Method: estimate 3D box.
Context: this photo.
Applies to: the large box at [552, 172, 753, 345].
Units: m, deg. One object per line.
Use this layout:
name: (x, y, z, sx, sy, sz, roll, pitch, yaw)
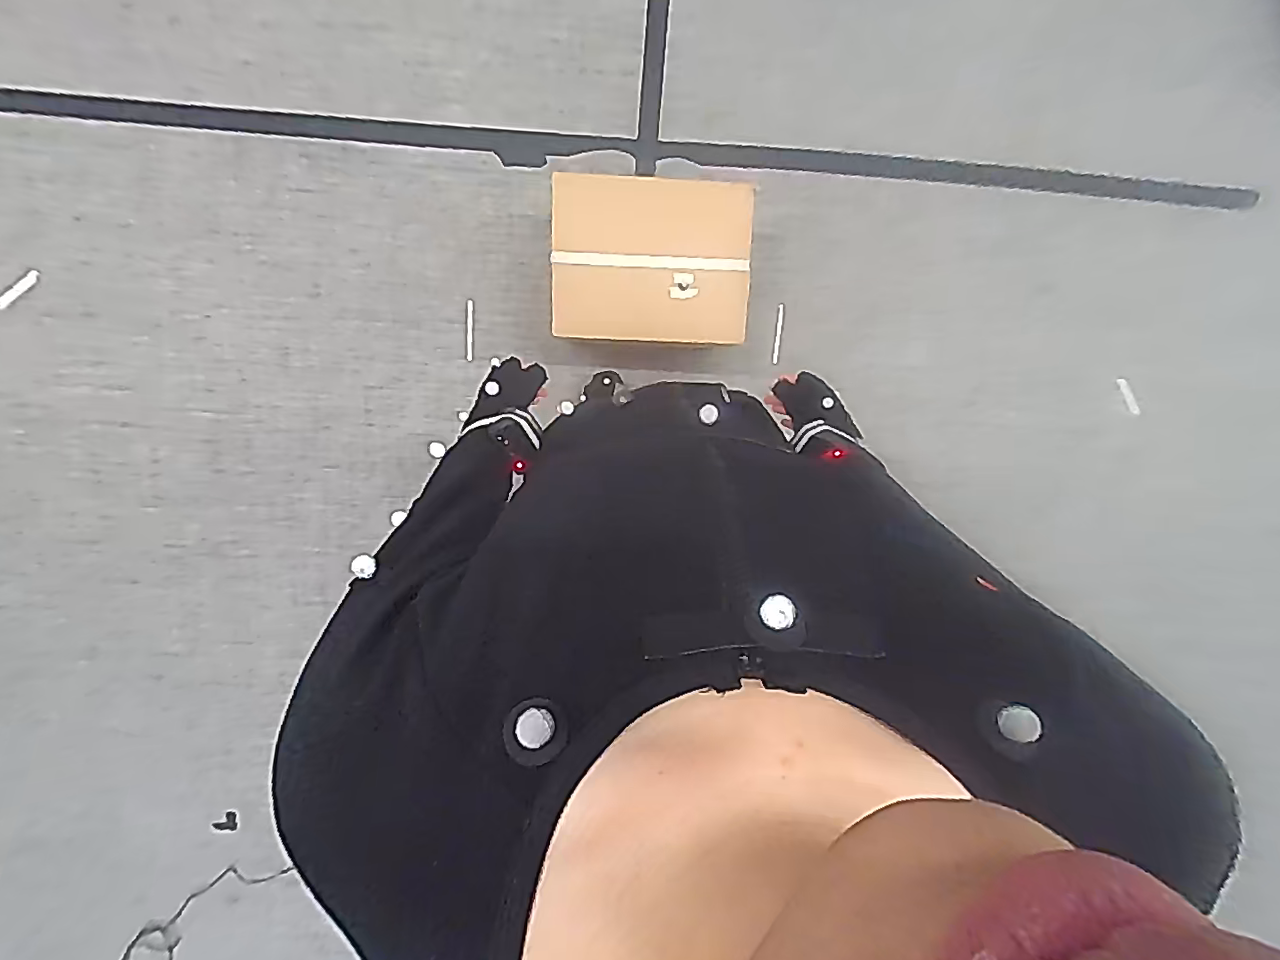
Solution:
large box: (0.013, -0.478, 1.240, 0.408, 0.320, 0.320, 1, 103, -5)
